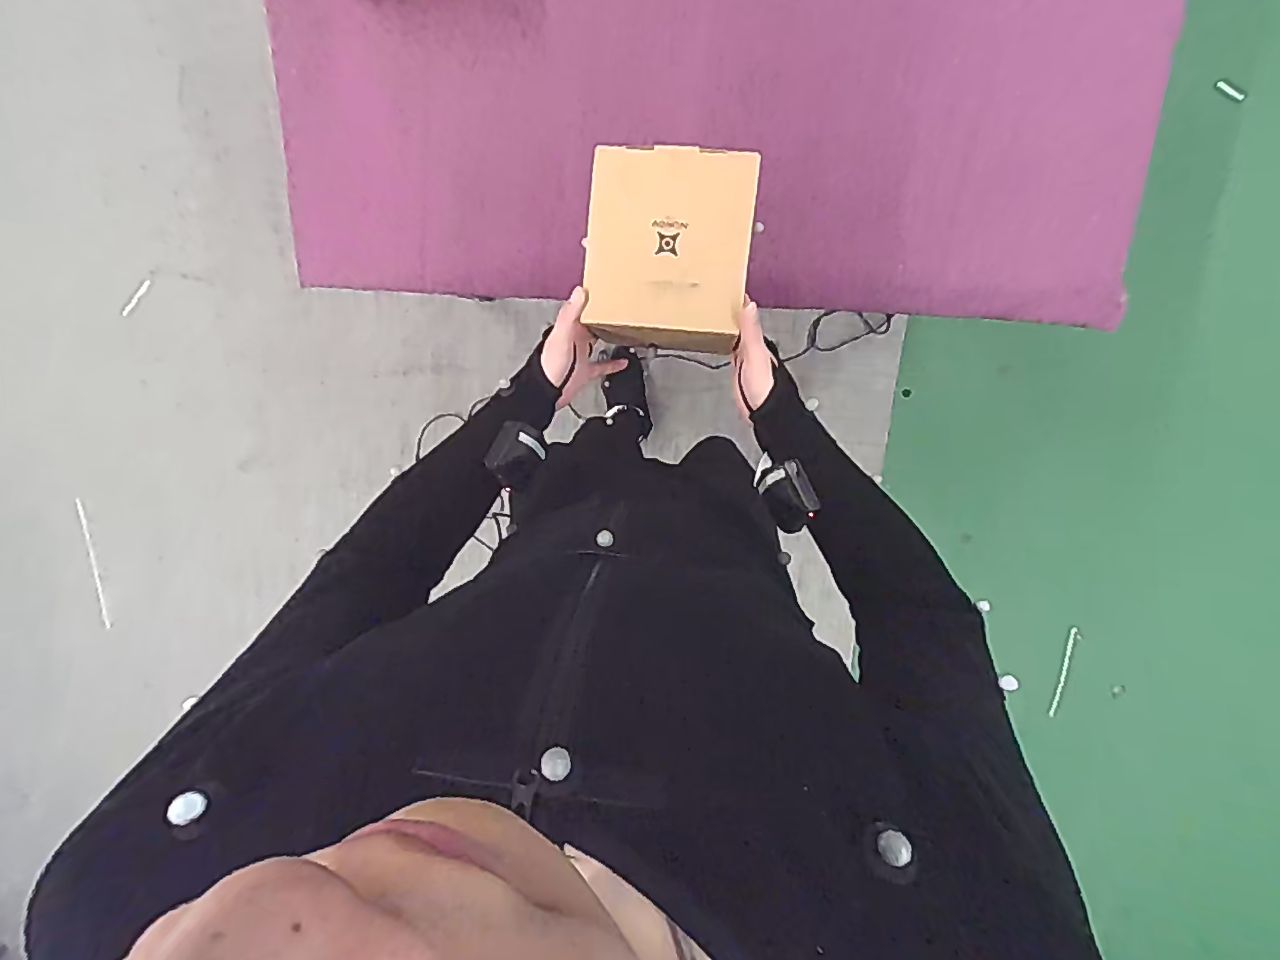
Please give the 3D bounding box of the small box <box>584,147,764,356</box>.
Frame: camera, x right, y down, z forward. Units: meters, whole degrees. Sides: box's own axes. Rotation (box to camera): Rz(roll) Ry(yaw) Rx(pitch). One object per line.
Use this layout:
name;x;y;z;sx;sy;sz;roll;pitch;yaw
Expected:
small box;0.039;-0.247;0.622;0.168;0.176;0.179;7;98;5
